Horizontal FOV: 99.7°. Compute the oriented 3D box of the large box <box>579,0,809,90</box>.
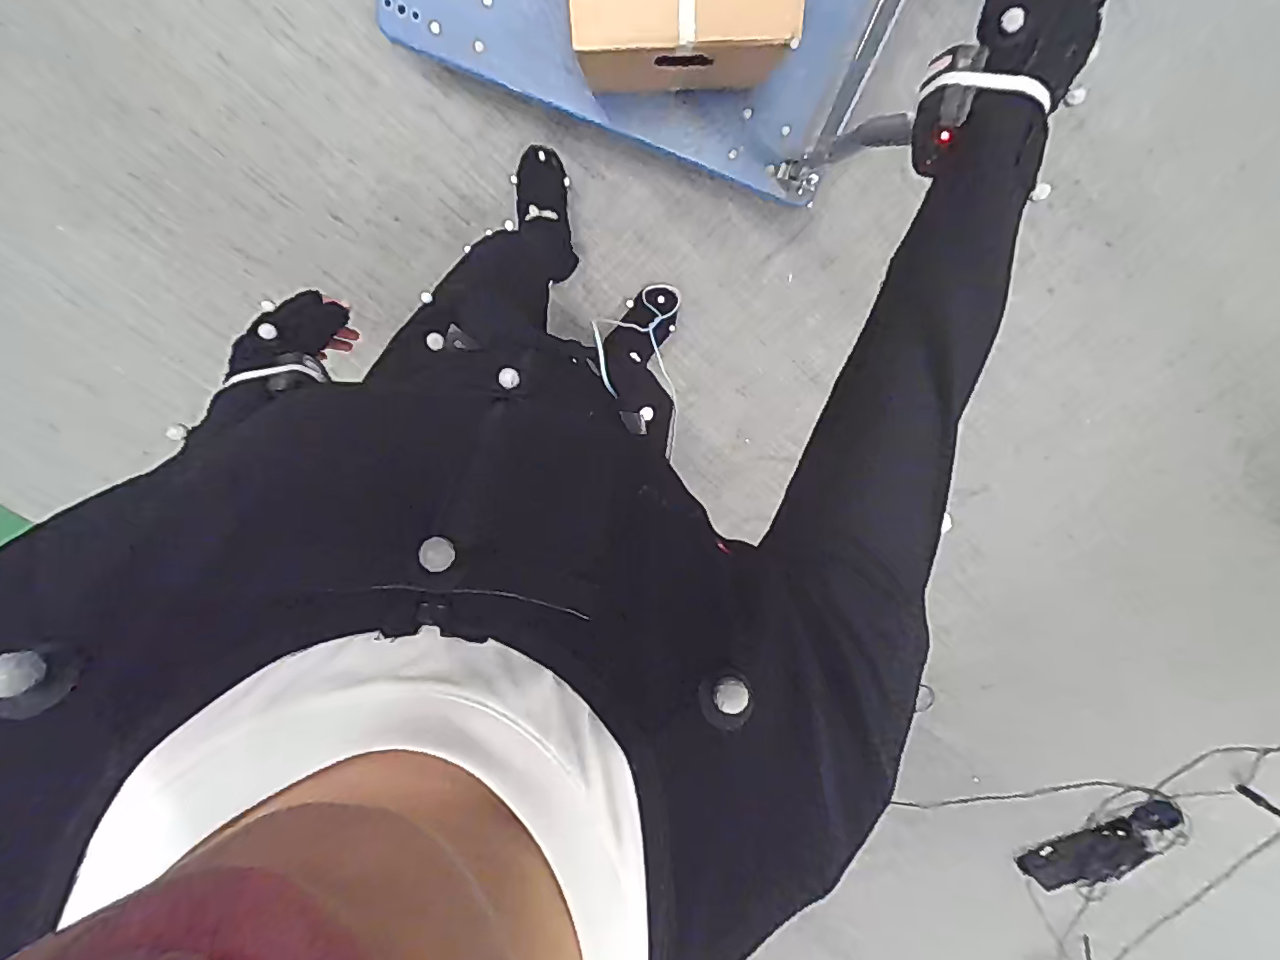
[{"bbox_3d":[0.063,-0.841,0.784,0.320,0.320,0.408,-2,118,2],"label":"large box"}]
